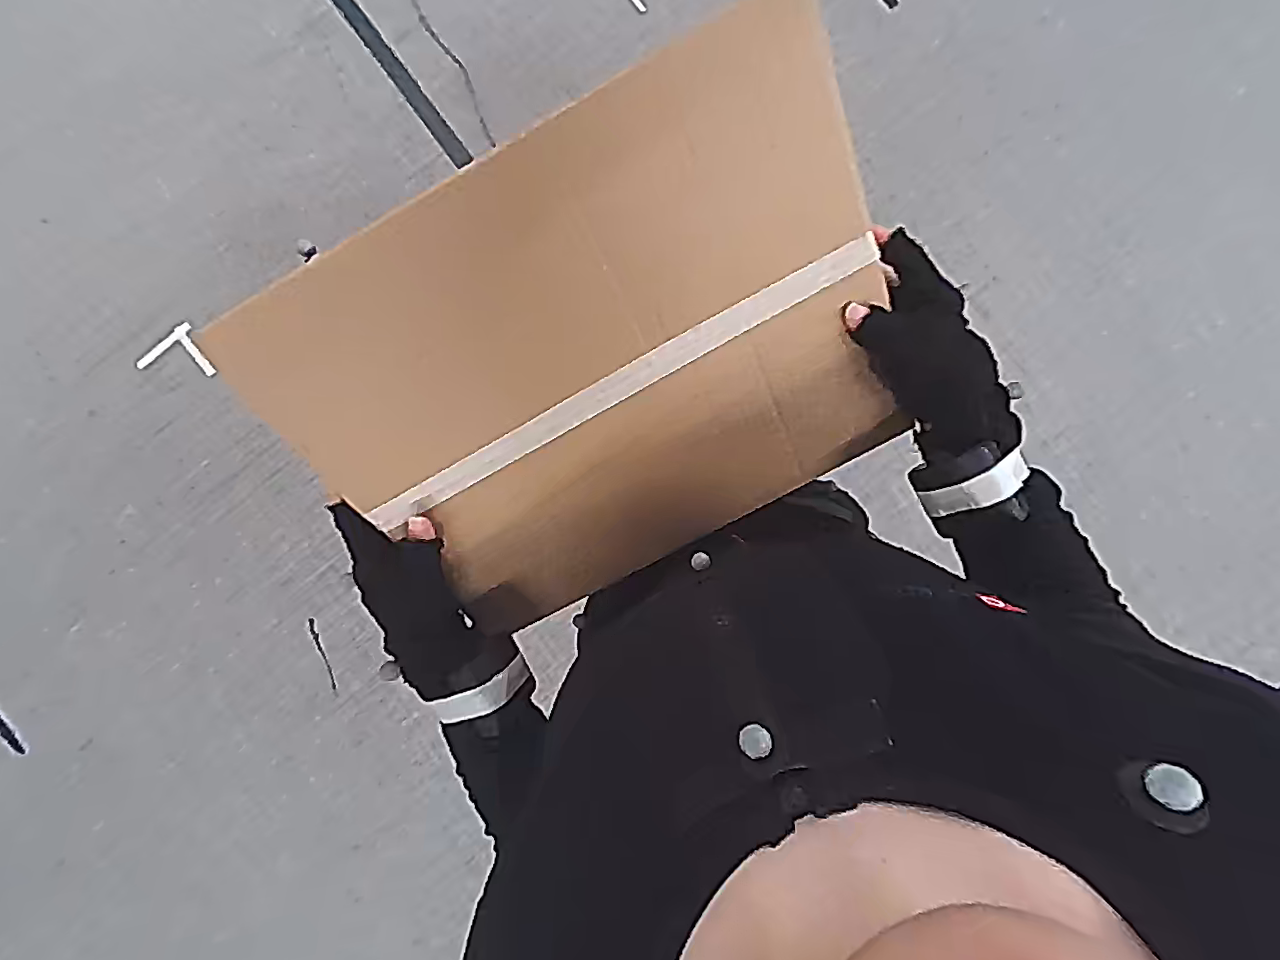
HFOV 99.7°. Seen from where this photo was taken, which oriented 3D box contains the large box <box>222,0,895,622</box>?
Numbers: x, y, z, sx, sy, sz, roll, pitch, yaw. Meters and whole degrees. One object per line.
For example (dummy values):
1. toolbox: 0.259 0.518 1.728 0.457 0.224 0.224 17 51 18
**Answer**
1. large box: -0.052 -0.146 0.520 0.408 0.320 0.320 -28 122 5
